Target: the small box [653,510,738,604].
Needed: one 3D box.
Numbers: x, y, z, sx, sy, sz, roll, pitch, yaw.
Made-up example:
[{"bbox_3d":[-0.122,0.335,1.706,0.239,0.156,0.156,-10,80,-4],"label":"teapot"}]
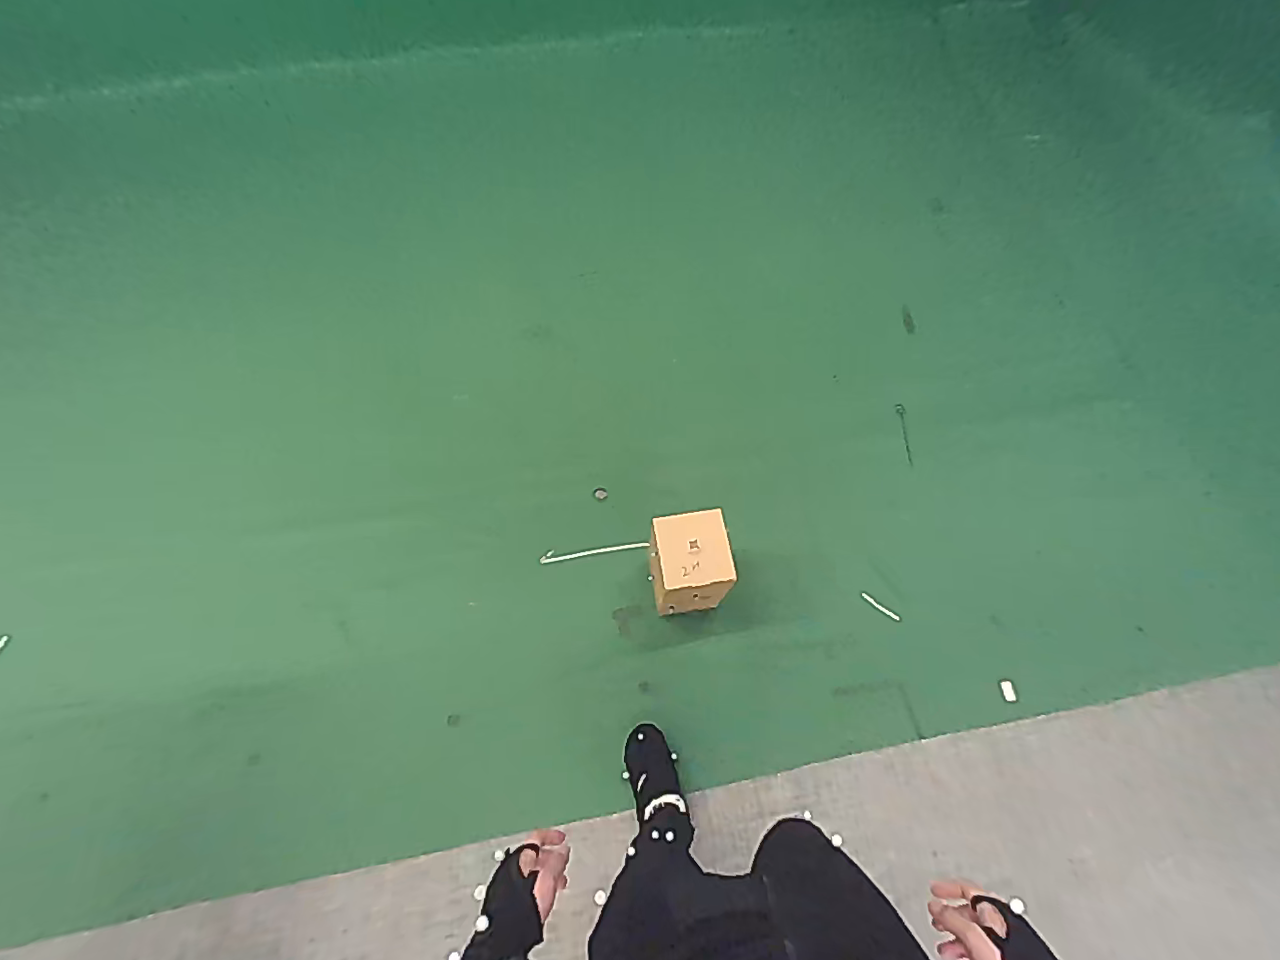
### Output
[{"bbox_3d":[0.126,0.189,1.308,0.168,0.176,0.179,-8,67,-4],"label":"small box"}]
